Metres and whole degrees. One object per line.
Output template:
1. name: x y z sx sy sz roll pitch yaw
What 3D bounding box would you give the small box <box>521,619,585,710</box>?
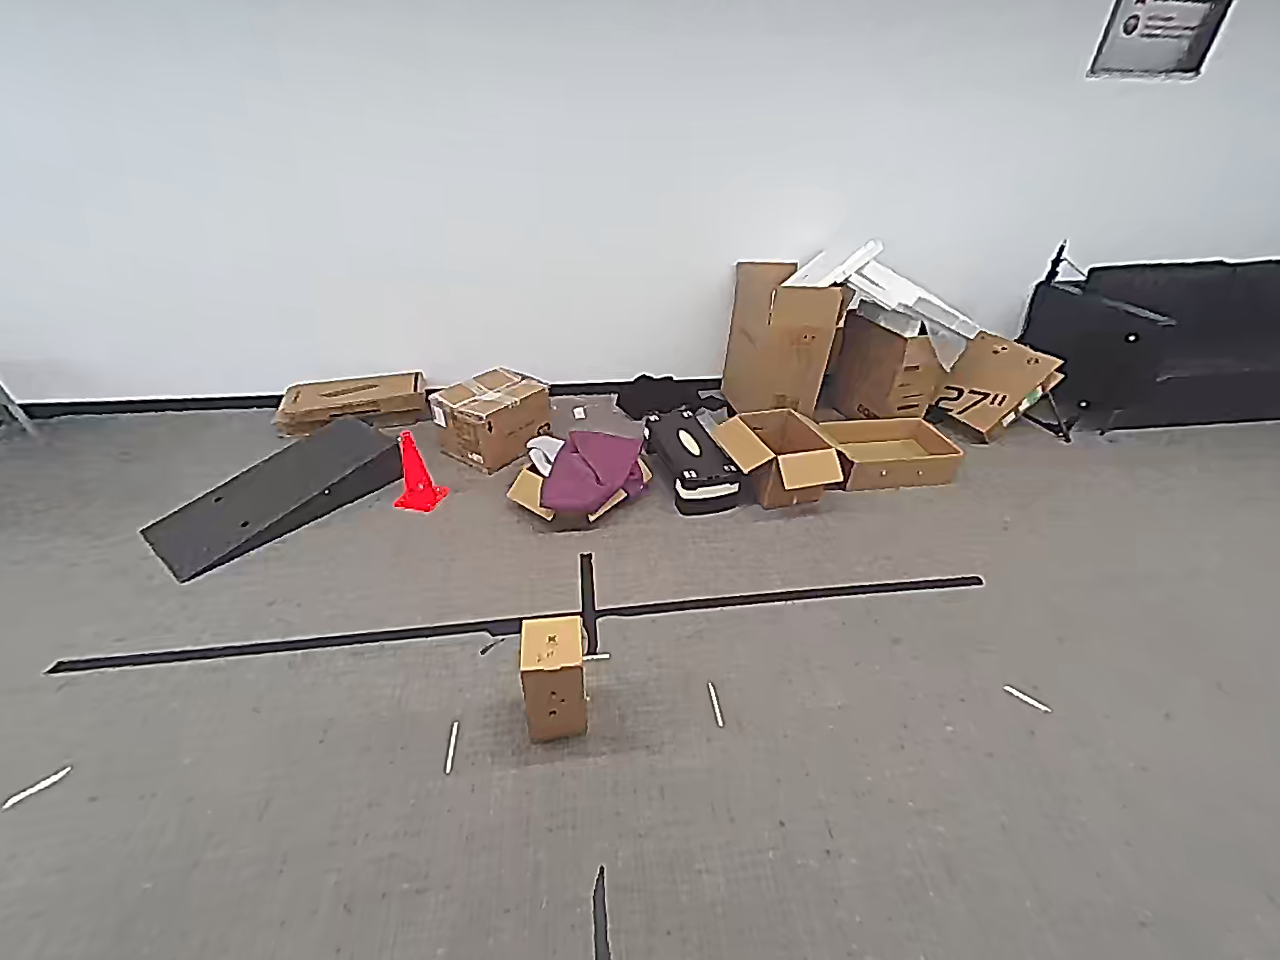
1. small box: -0.241 0.518 1.525 0.168 0.176 0.179 -3 34 -7

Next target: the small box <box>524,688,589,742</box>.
1. small box: -0.250 0.656 1.615 0.179 0.176 0.168 -5 34 -11
